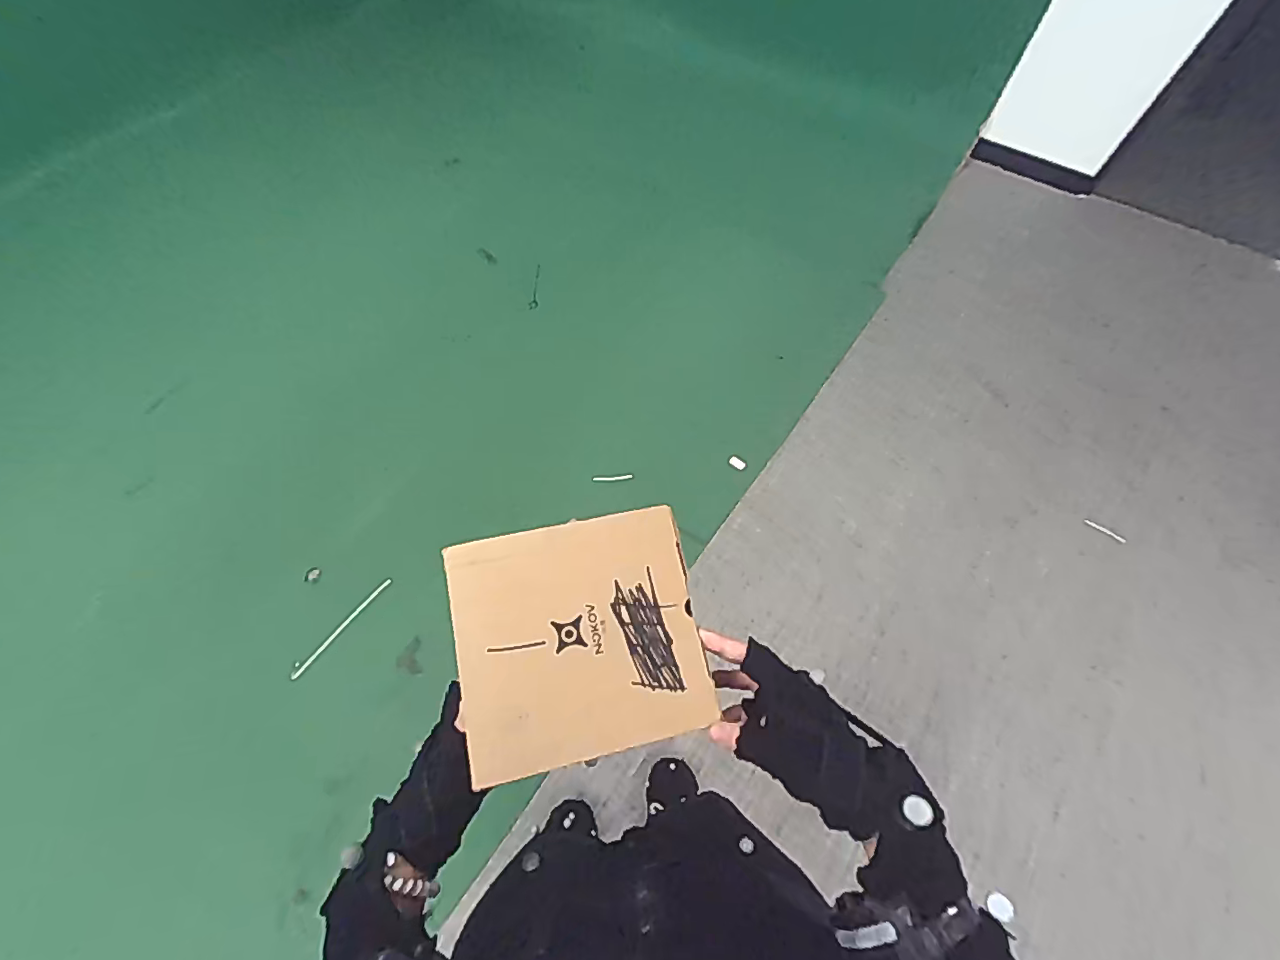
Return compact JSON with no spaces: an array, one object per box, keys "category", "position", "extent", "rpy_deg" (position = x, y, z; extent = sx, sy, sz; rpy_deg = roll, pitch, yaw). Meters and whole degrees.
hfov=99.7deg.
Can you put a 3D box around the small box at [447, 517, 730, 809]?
[{"category":"small box","position":[-0.048,0.142,0.452],"extent":[0.179,0.176,0.168],"rpy_deg":[-10,73,-11]}]
